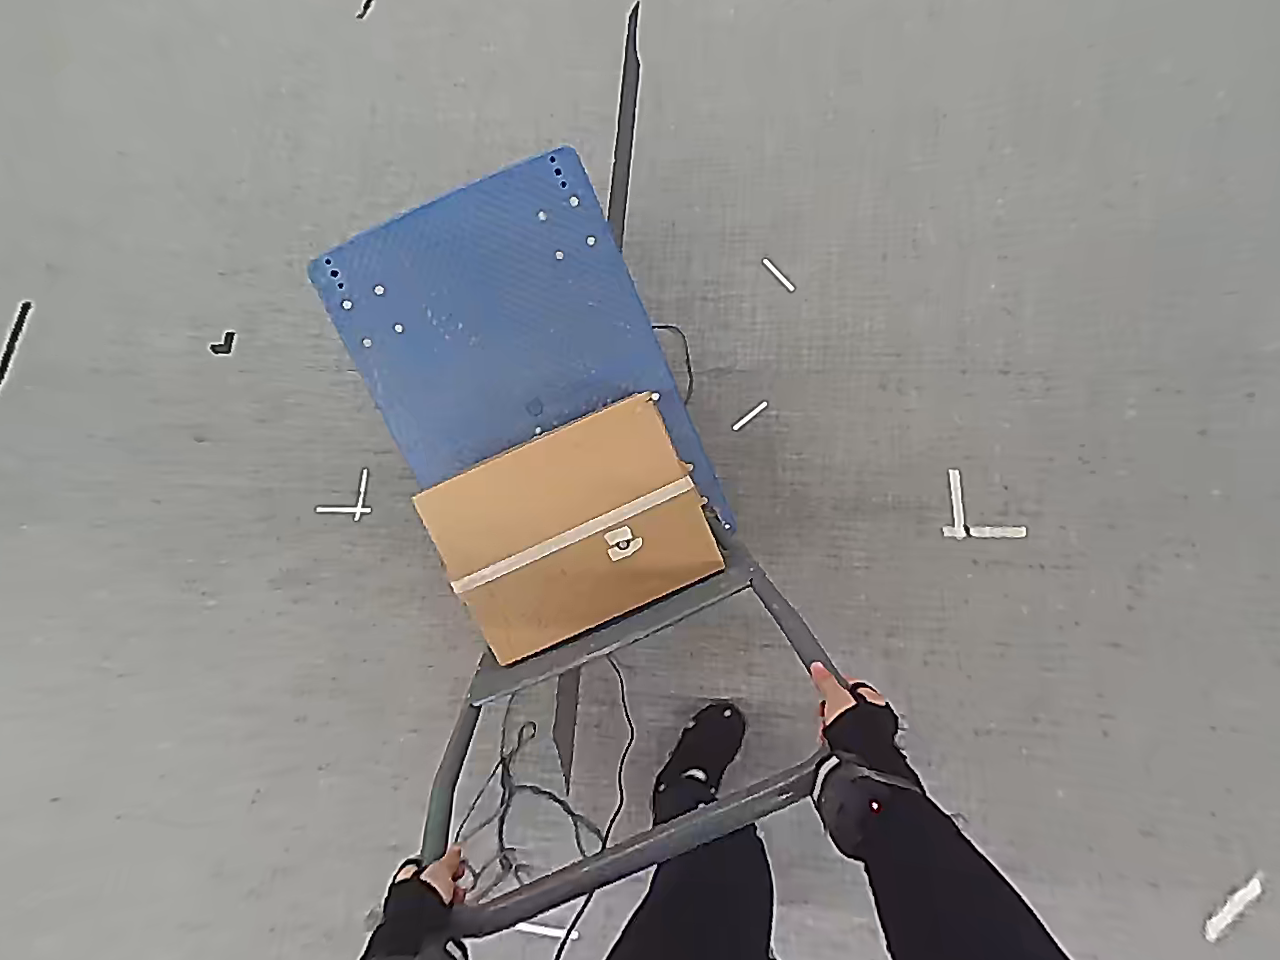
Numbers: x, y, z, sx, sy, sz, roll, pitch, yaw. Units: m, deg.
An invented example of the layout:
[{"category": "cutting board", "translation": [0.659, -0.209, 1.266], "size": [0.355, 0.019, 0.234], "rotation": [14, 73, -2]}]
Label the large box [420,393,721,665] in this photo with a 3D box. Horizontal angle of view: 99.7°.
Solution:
[{"category": "large box", "translation": [-0.118, 0.065, 1.013], "size": [0.408, 0.320, 0.320], "rotation": [-26, 100, -1]}]
